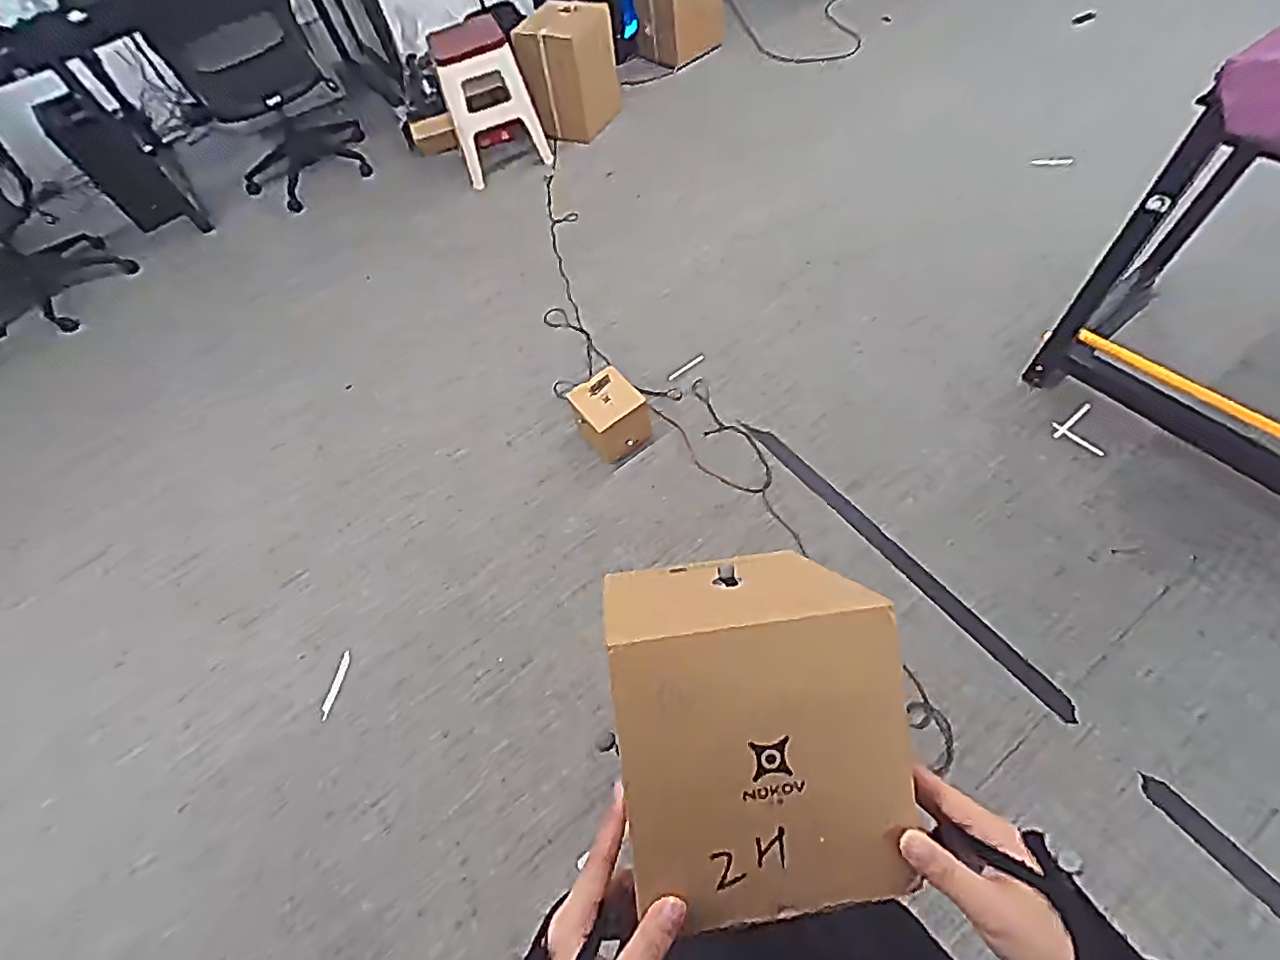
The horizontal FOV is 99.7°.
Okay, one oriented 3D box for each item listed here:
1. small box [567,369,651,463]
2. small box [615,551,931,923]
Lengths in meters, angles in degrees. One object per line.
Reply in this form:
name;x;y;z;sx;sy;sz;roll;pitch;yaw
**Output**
small box;-0.086;-0.183;1.581;0.168;0.176;0.179;-36;62;-12
small box;0.072;0.149;0.381;0.168;0.176;0.179;-6;92;-3
